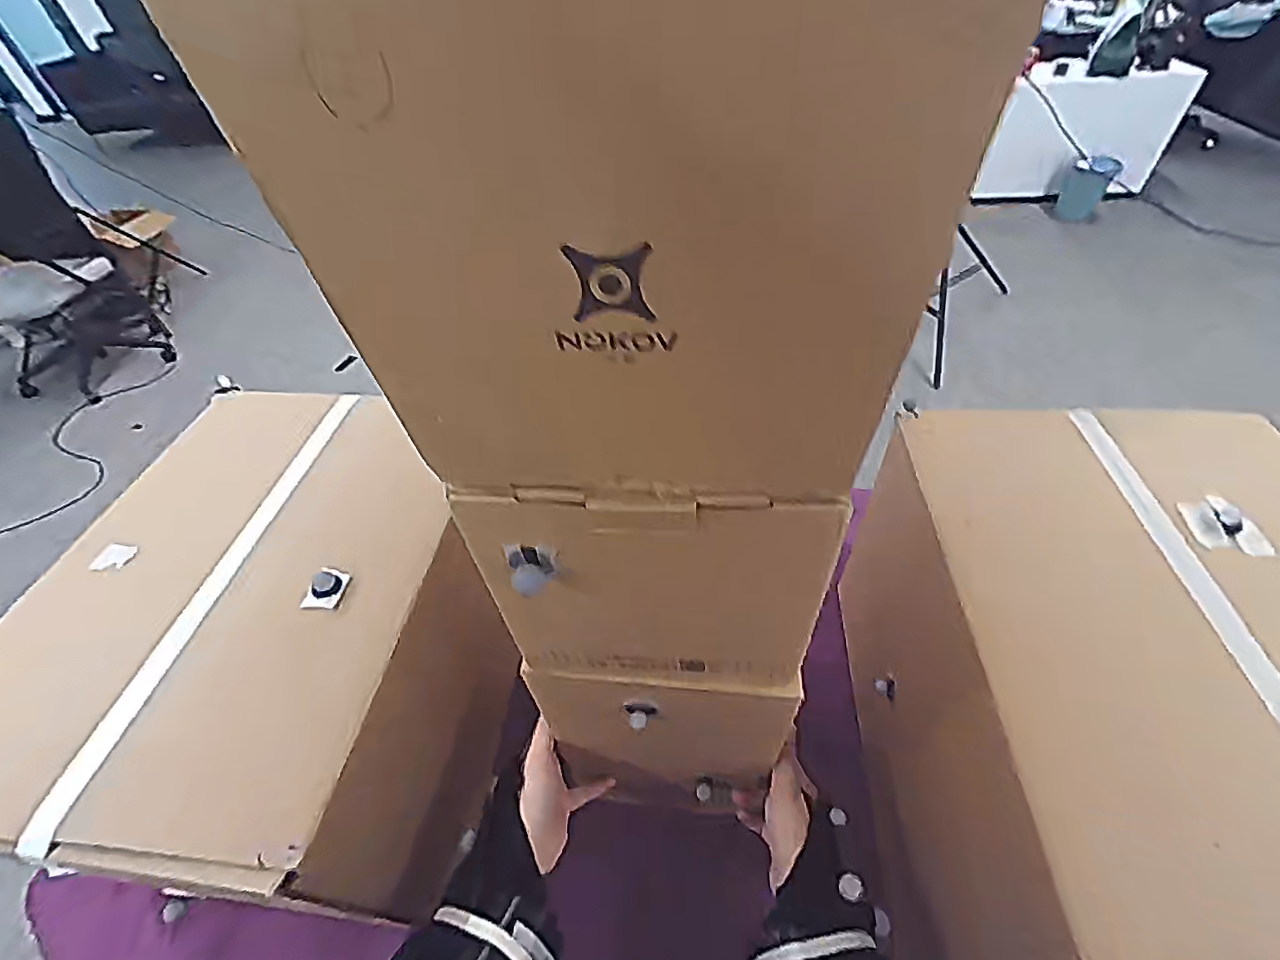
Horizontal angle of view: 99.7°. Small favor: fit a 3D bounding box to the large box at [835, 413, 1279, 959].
[{"bbox_3d":[0.384,0.188,0.476,0.320,0.320,0.408,2,46,6],"label":"large box"}]
